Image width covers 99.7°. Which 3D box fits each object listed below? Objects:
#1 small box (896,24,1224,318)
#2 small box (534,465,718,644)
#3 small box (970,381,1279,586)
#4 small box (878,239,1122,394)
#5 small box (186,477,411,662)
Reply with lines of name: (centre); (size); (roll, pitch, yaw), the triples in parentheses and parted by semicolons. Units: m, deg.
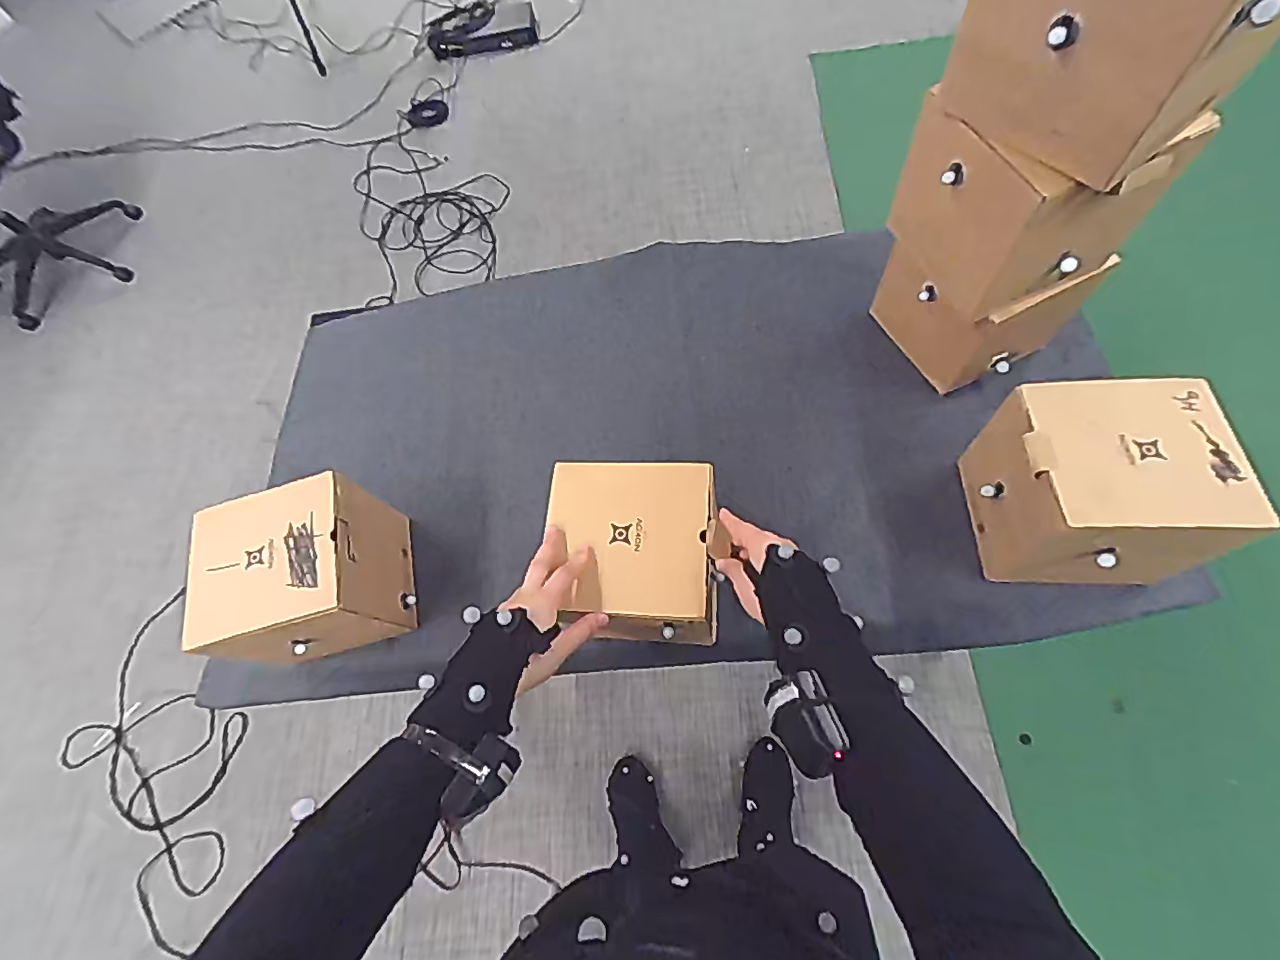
small box: (0.397, -0.306, 0.559); (0.168, 0.176, 0.179); (-23, 66, 1)
small box: (-0.002, 0.092, 0.626); (0.179, 0.176, 0.168); (1, 66, 9)
small box: (0.485, 0.012, 0.584); (0.179, 0.176, 0.168); (-1, 63, 9)
small box: (0.444, -0.246, 0.707); (0.168, 0.176, 0.179); (-27, 68, -1)
small box: (-0.401, 0.119, 0.669); (0.179, 0.176, 0.168); (-16, 66, 1)
